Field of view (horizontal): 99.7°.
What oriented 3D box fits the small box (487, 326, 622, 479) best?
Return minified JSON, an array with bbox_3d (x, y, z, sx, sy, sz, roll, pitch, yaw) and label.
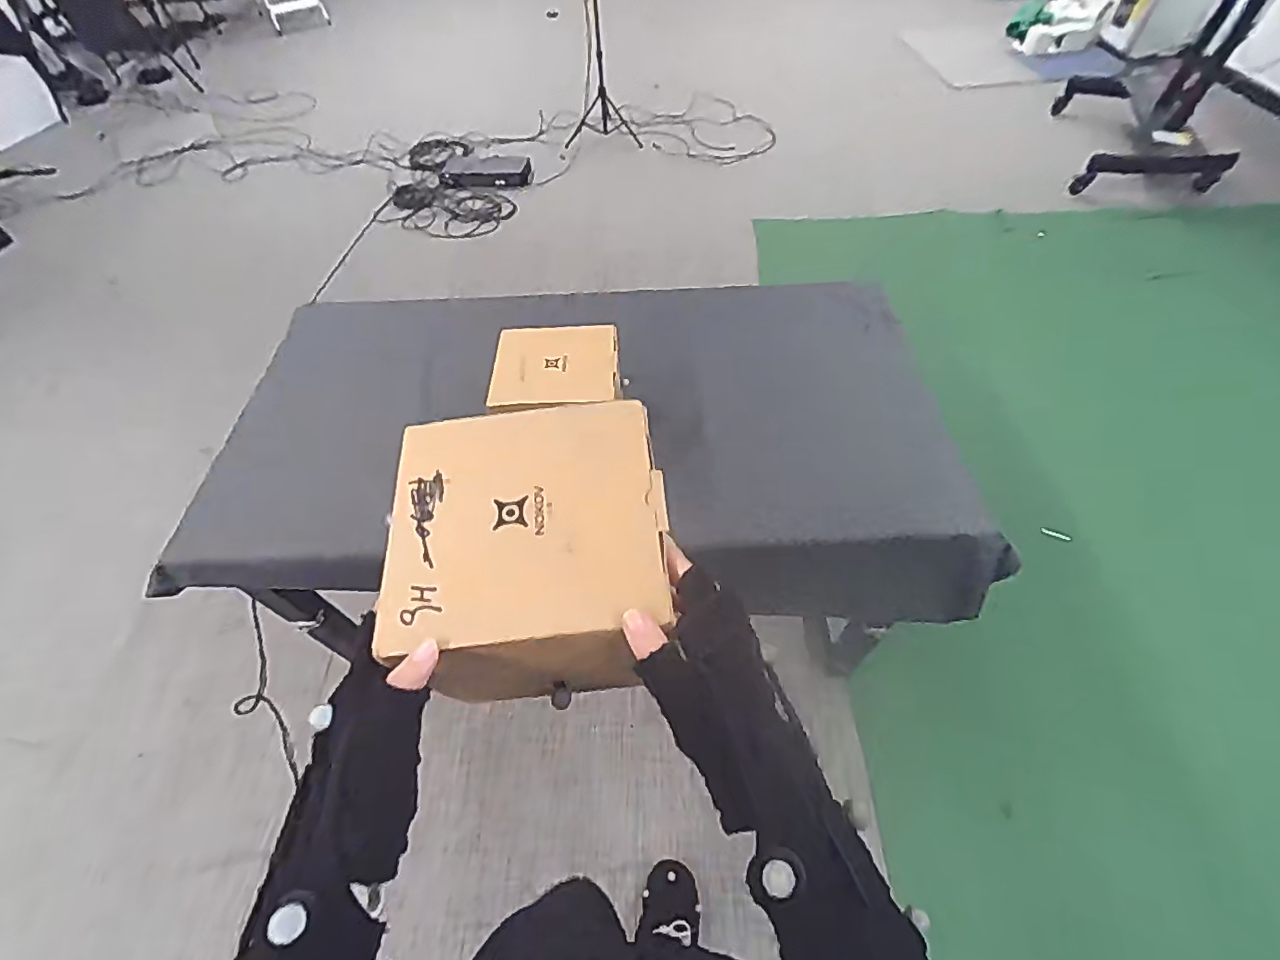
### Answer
[{"bbox_3d":[-0.119,-0.116,0.840,0.179,0.176,0.168,-4,53,2],"label":"small box"}]
